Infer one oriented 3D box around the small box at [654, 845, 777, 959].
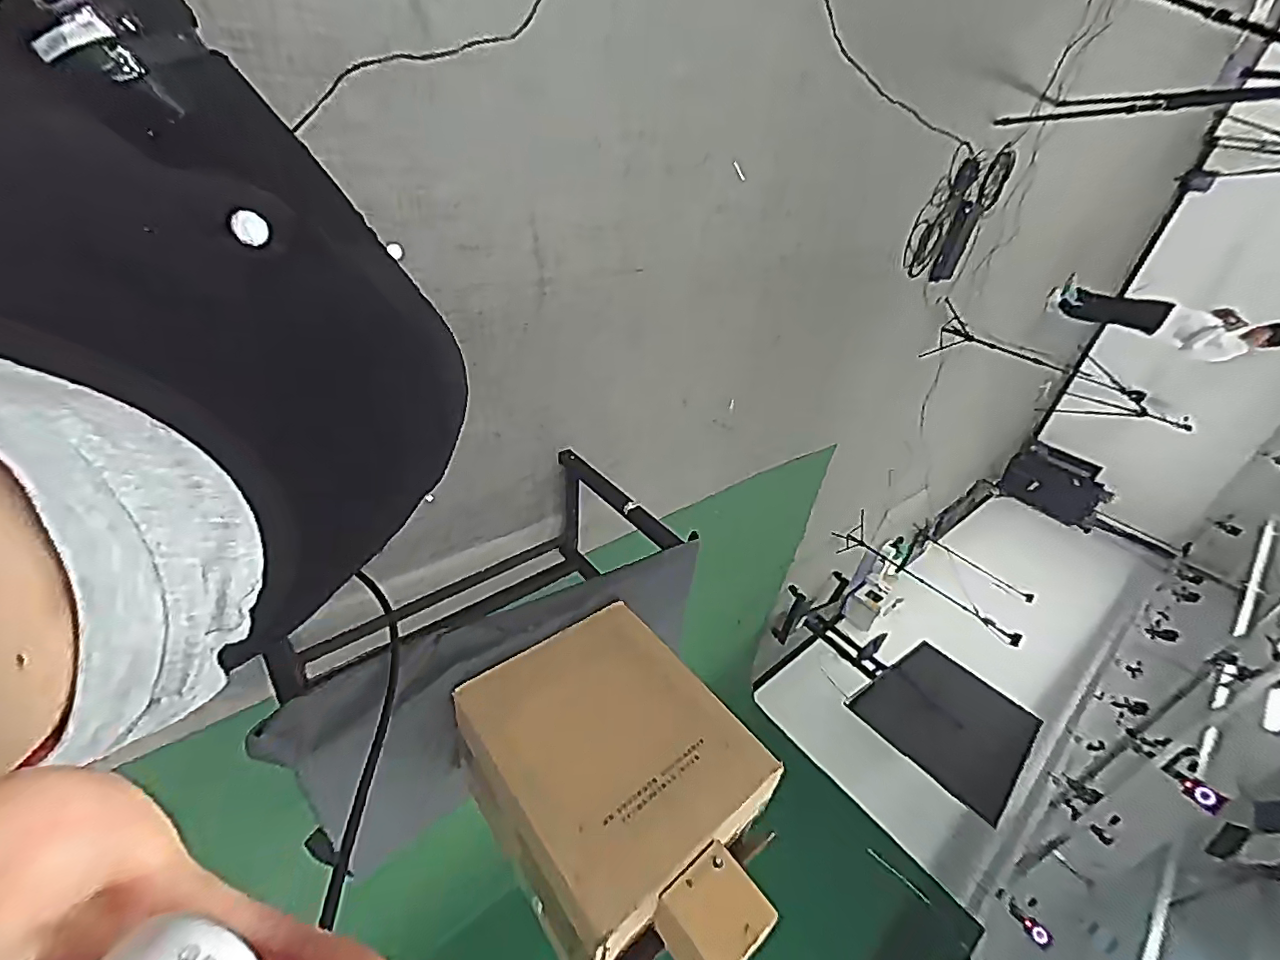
[{"bbox_3d":[0.146,0.889,1.097,0.168,0.176,0.179,-22,135,-33],"label":"small box"}]
